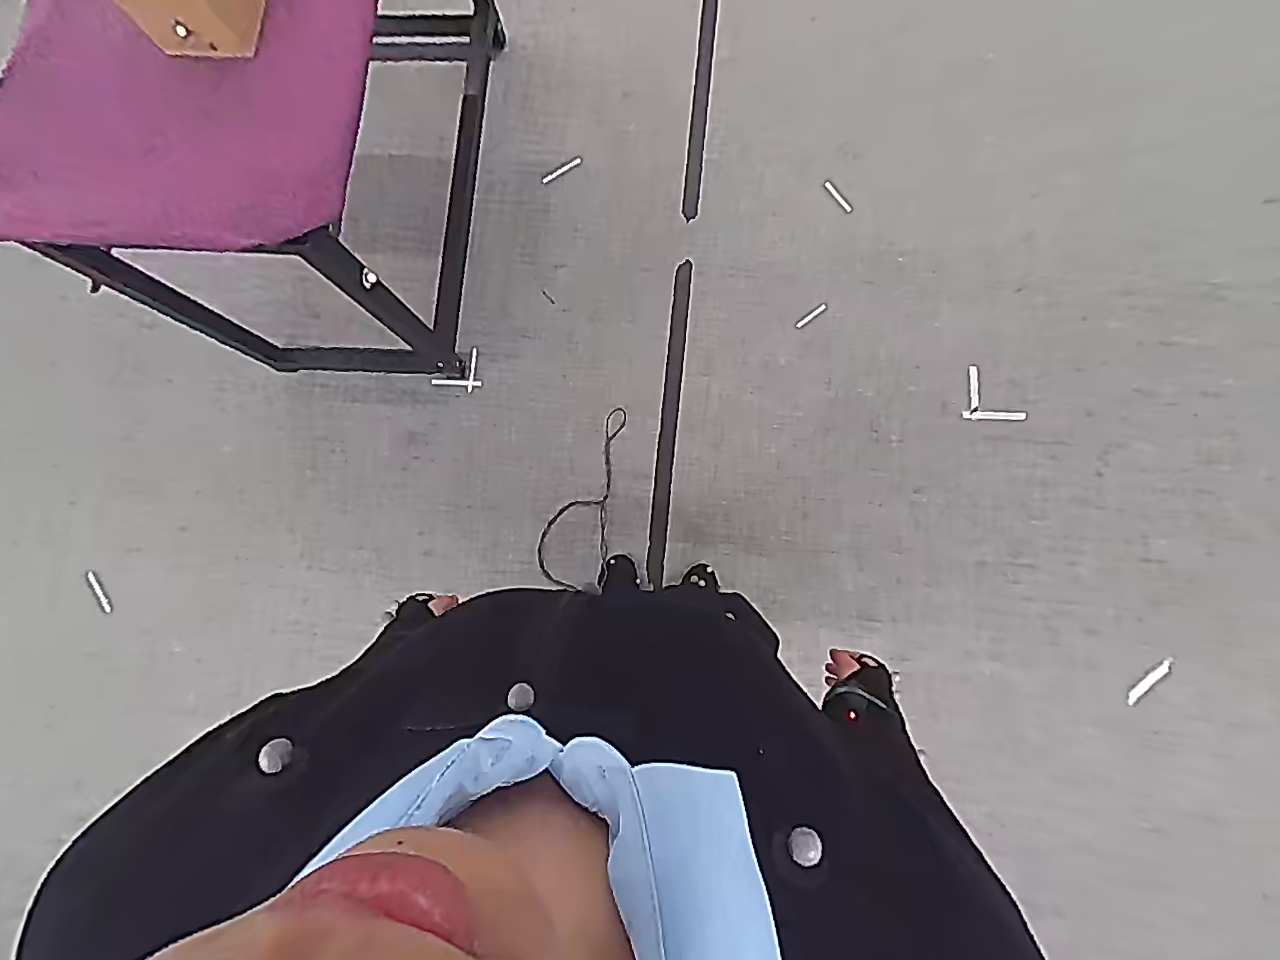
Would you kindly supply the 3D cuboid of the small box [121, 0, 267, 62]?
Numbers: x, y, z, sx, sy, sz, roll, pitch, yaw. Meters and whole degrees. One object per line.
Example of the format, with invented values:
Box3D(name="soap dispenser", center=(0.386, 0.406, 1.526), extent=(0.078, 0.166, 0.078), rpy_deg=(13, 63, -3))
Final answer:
Box3D(name="small box", center=(-0.754, -0.841, 0.888), extent=(0.168, 0.176, 0.179), rpy_deg=(5, 82, 4))
